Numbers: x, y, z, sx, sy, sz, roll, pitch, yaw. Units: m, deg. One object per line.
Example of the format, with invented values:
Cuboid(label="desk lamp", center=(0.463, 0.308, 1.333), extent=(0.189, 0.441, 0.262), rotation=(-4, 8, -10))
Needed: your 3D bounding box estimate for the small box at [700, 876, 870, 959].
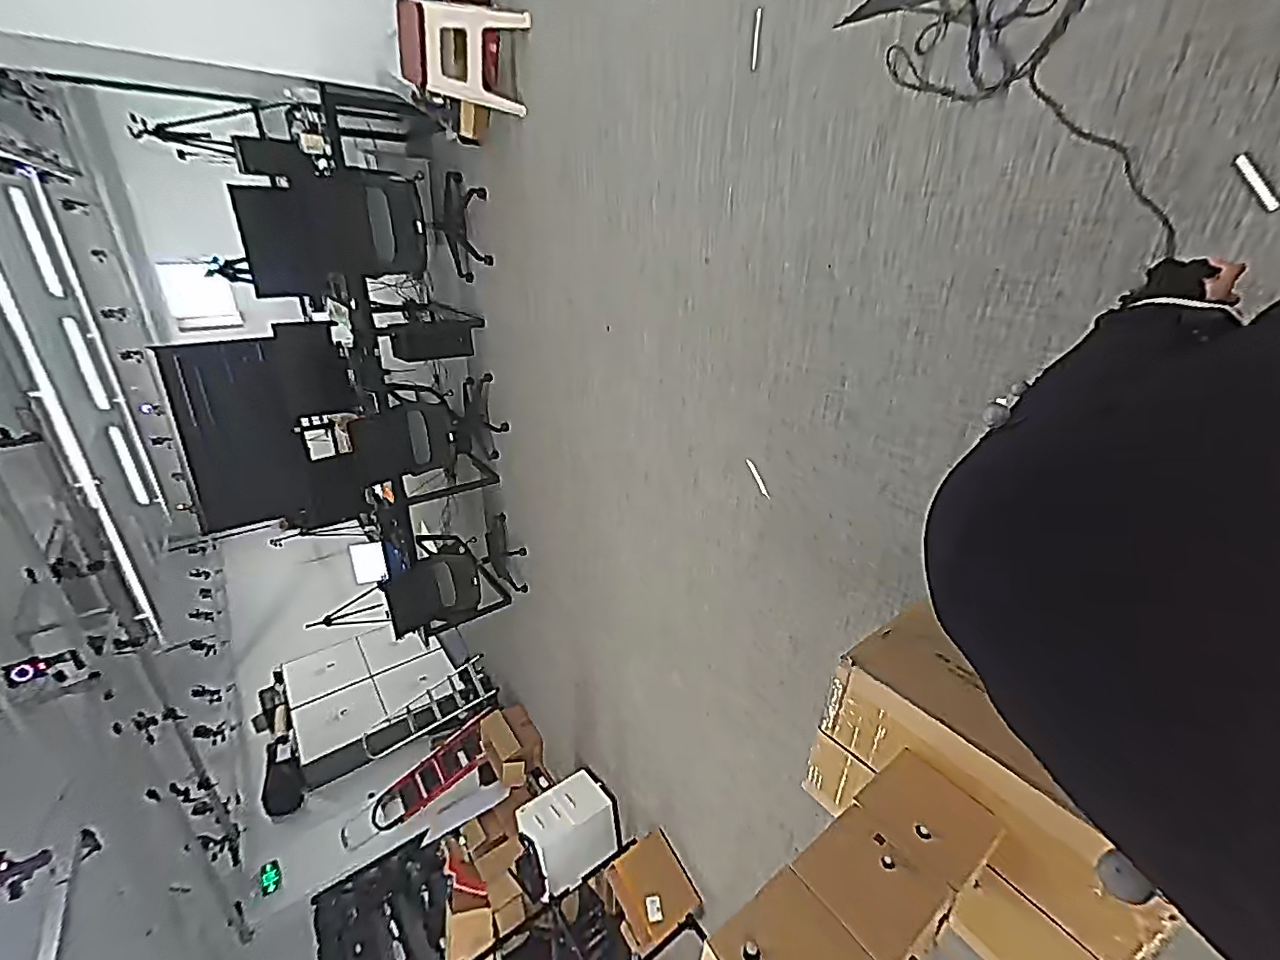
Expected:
Cuboid(label="small box", center=(0.196, 0.686, 0.729), extent=(0.179, 0.176, 0.168), rotation=(32, 129, 46))

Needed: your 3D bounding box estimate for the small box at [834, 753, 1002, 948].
Cuboid(label="small box", center=(0.463, 0.603, 0.904), extent=(0.179, 0.176, 0.168), rotation=(33, 129, 46))
